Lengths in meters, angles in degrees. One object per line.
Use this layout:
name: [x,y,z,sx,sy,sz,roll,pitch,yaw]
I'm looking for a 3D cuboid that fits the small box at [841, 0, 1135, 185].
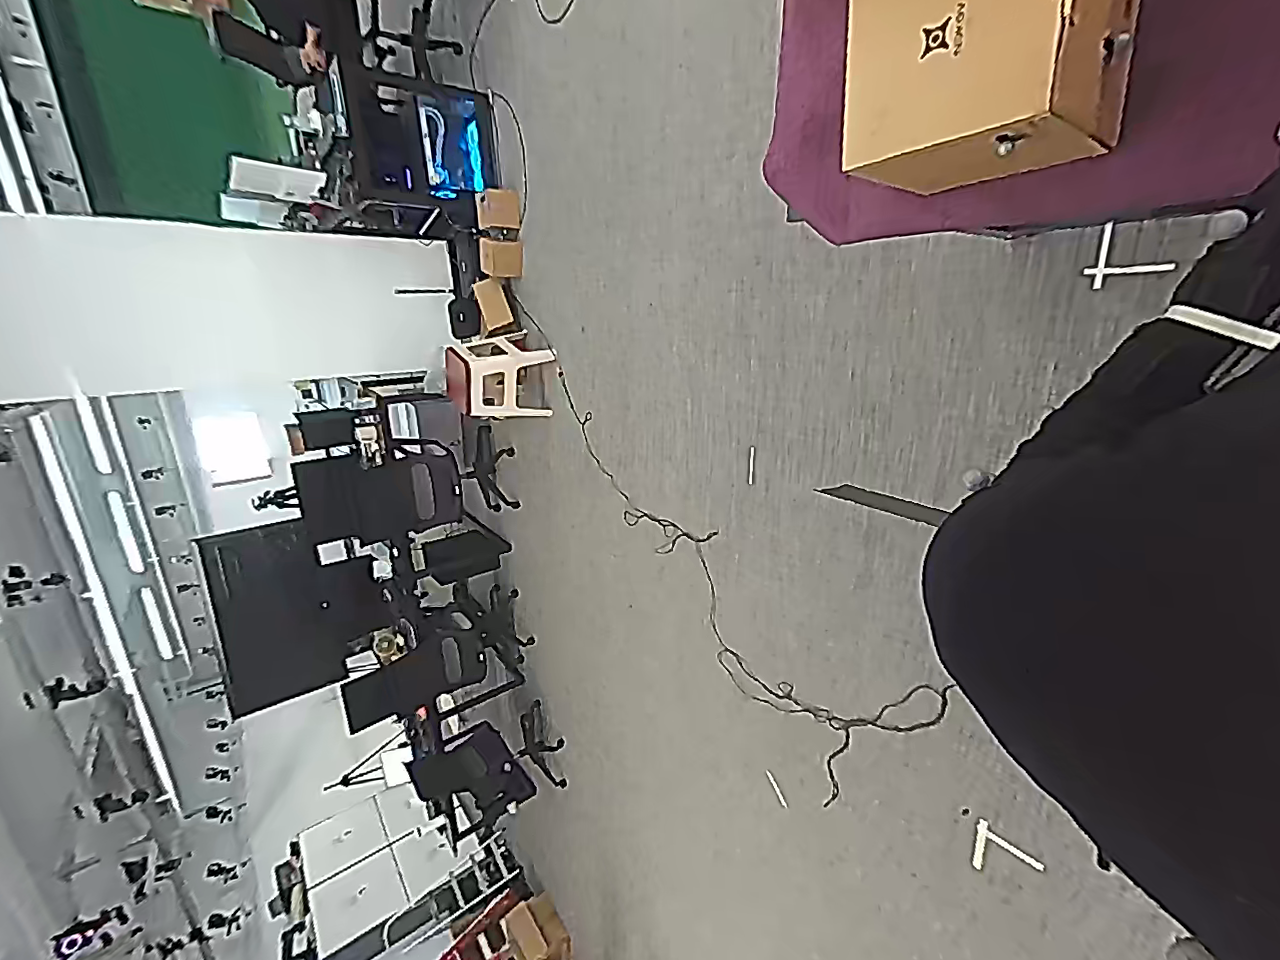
small box: [0.311,-0.386,0.494,0.179,0.176,0.168,15,113,51]
